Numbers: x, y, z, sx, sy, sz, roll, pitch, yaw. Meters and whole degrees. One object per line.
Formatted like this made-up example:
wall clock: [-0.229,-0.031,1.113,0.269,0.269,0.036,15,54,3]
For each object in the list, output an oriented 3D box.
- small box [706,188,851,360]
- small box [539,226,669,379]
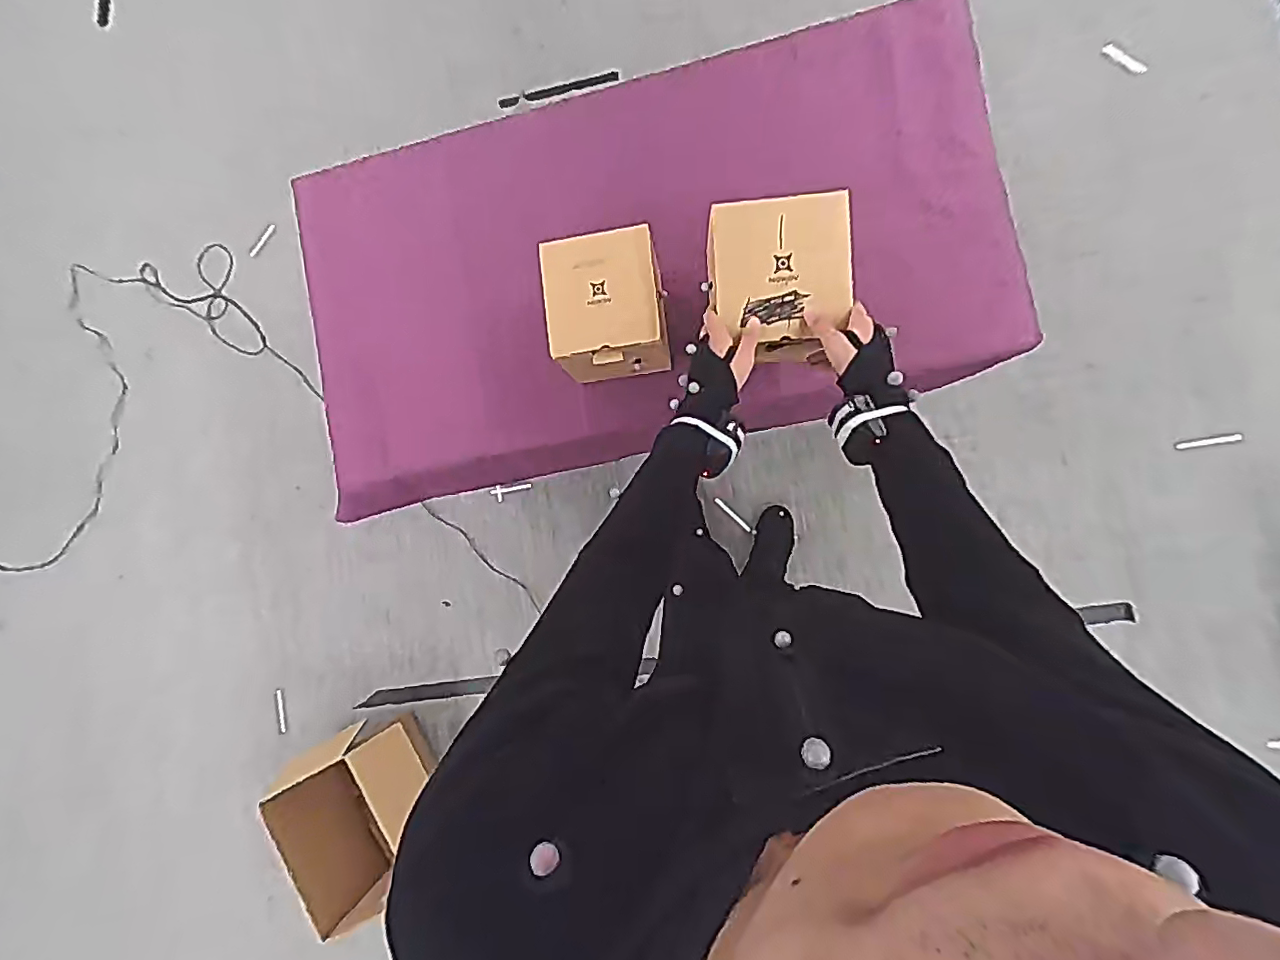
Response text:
small box: [0.177,-0.261,0.732,0.168,0.176,0.179,-4,94,5]
small box: [-0.049,-0.266,0.857,0.168,0.176,0.179,-7,87,7]
